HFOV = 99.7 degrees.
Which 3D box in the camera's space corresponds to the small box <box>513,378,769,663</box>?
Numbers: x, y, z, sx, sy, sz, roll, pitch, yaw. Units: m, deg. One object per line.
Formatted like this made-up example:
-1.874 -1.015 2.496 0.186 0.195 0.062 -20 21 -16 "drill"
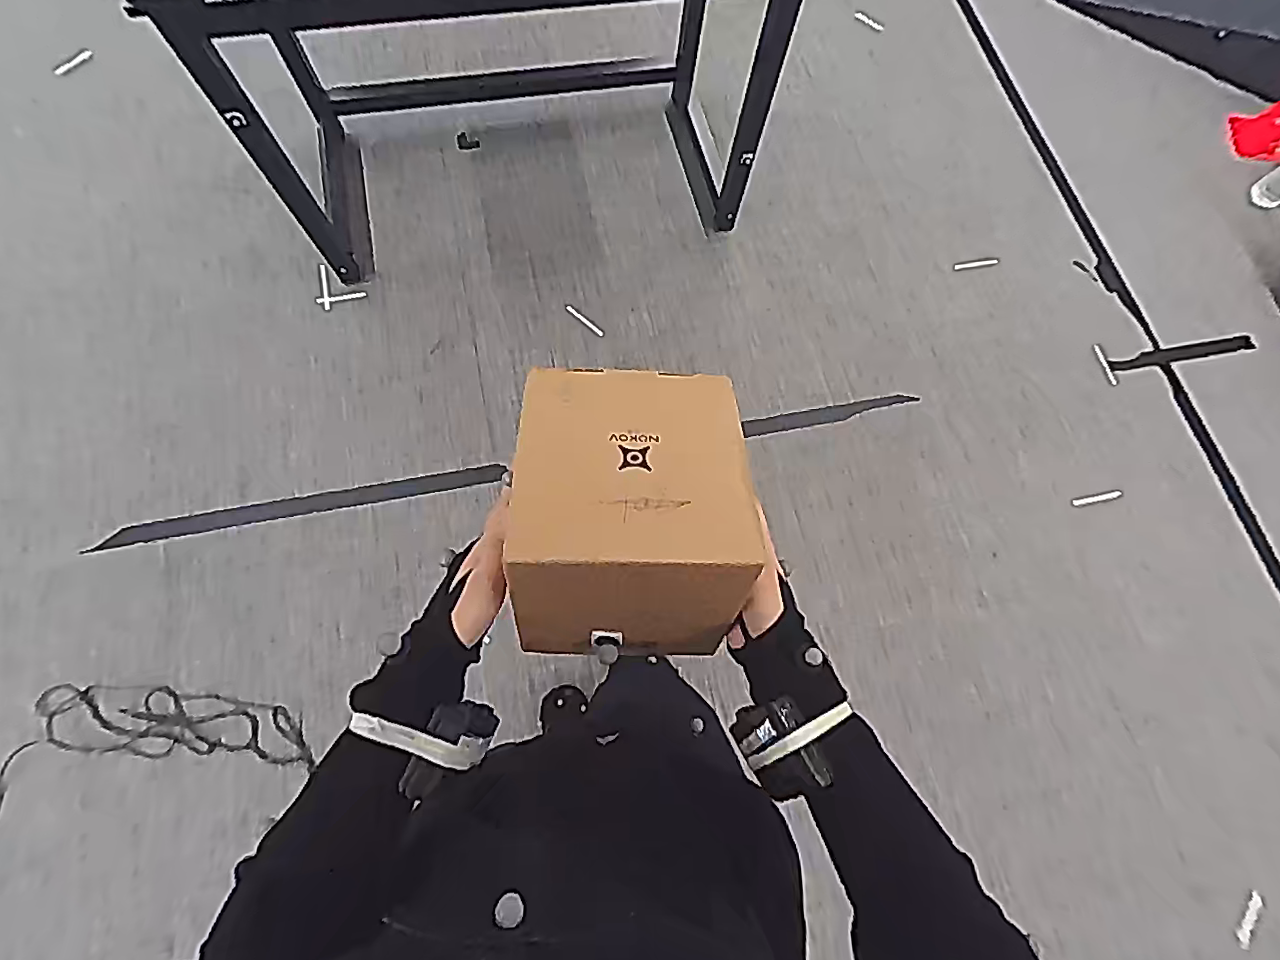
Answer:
-0.008 0.038 0.452 0.168 0.176 0.179 1 53 -6 "small box"
